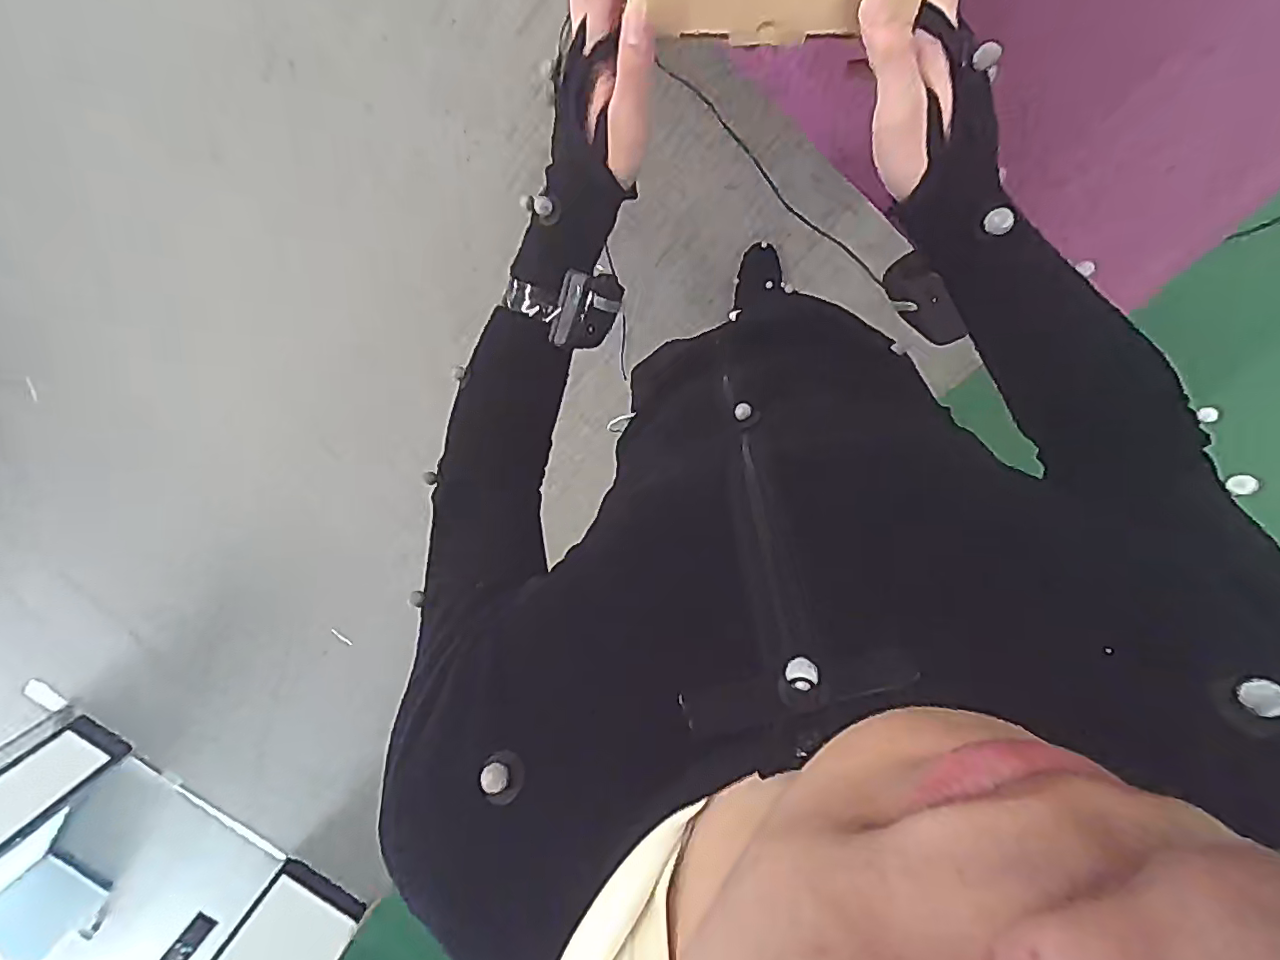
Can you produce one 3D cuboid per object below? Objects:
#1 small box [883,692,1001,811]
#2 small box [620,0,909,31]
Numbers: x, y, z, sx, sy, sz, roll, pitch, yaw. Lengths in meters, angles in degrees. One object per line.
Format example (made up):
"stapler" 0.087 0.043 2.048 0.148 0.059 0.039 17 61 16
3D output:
"small box" 0.751 0.679 1.368 0.168 0.176 0.179 37 112 -4
"small box" 0.077 -0.381 0.306 0.168 0.176 0.179 3 137 3
